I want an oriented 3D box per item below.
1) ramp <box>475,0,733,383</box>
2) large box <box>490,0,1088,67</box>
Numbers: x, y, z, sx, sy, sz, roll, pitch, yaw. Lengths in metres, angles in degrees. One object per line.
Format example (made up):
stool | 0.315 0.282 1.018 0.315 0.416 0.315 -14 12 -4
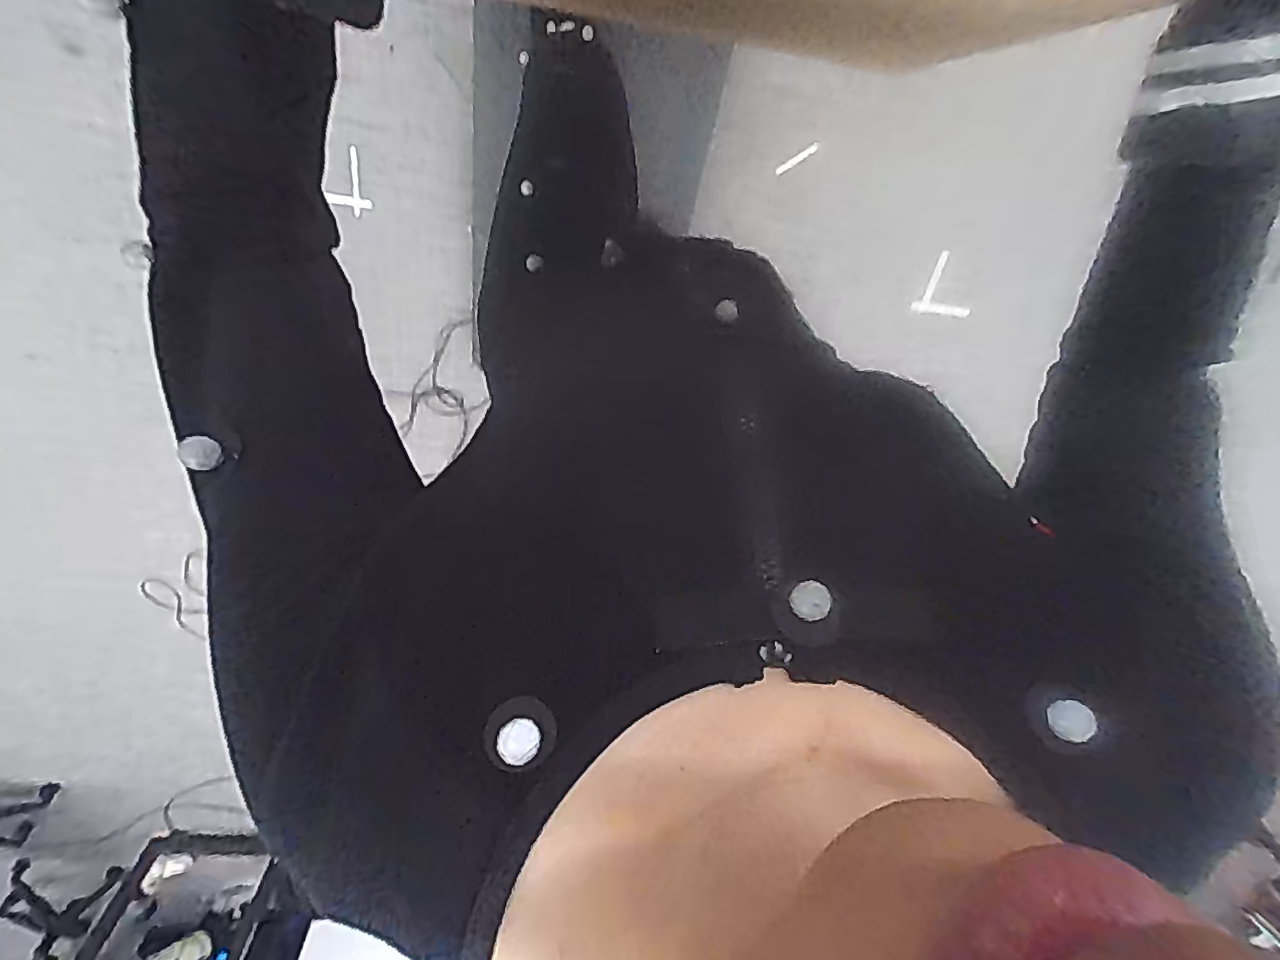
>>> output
ramp | -0.109 -0.672 1.187 0.509 0.206 0.991 4 121 -10
large box | 0.087 -0.474 0.307 0.408 0.320 0.320 3 120 -9
